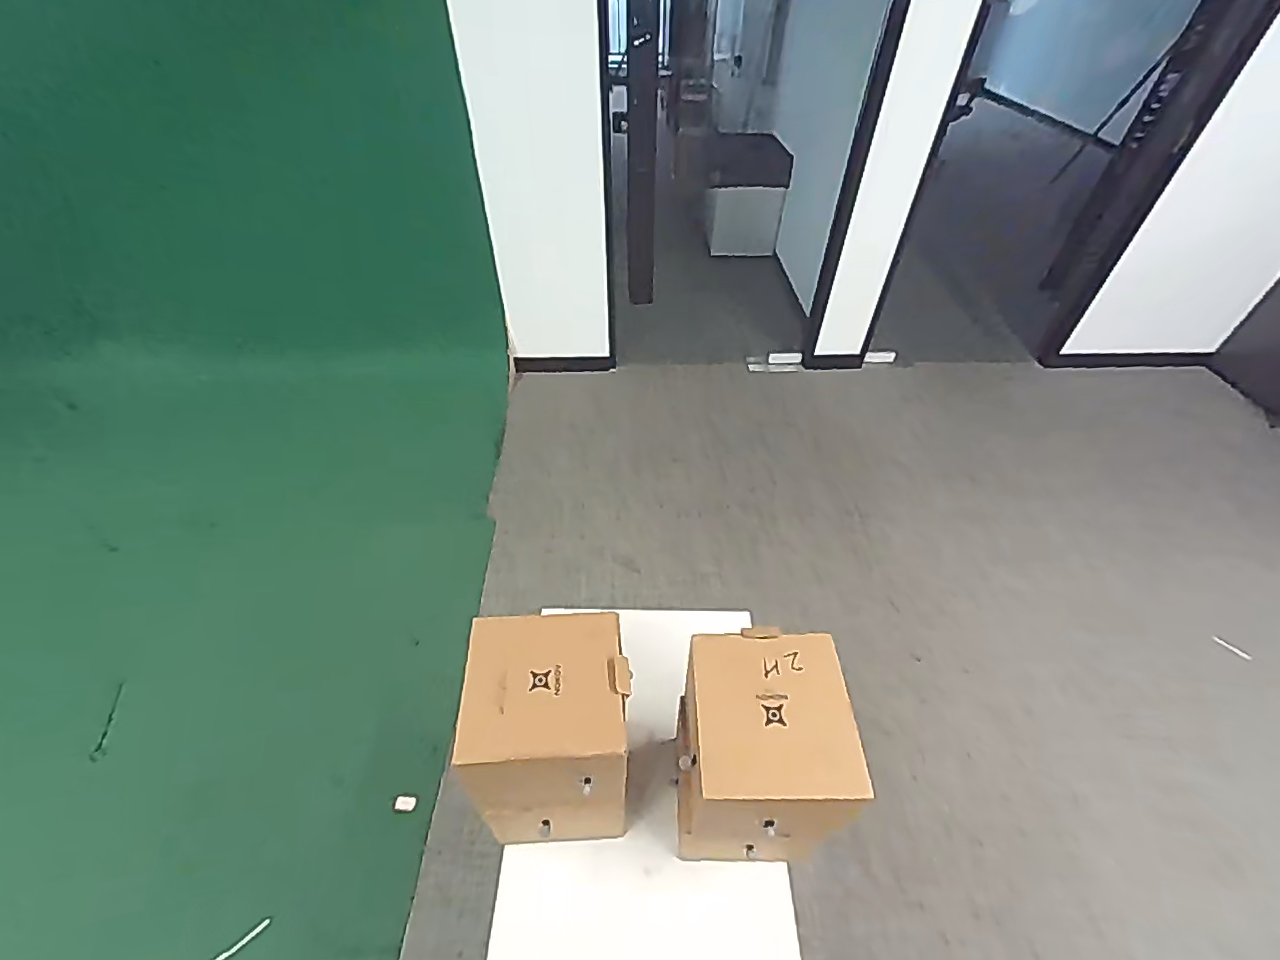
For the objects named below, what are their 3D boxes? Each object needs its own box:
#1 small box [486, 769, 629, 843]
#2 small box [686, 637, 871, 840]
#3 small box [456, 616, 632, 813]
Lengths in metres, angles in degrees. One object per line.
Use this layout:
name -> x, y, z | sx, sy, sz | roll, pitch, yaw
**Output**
small box -> -0.107, 0.398, 0.766 | 0.179, 0.176, 0.168 | -1, 46, -5
small box -> 0.143, 0.303, 0.630 | 0.168, 0.176, 0.179 | 0, 45, 0
small box -> -0.105, 0.281, 0.649 | 0.179, 0.176, 0.168 | -2, 44, -5
